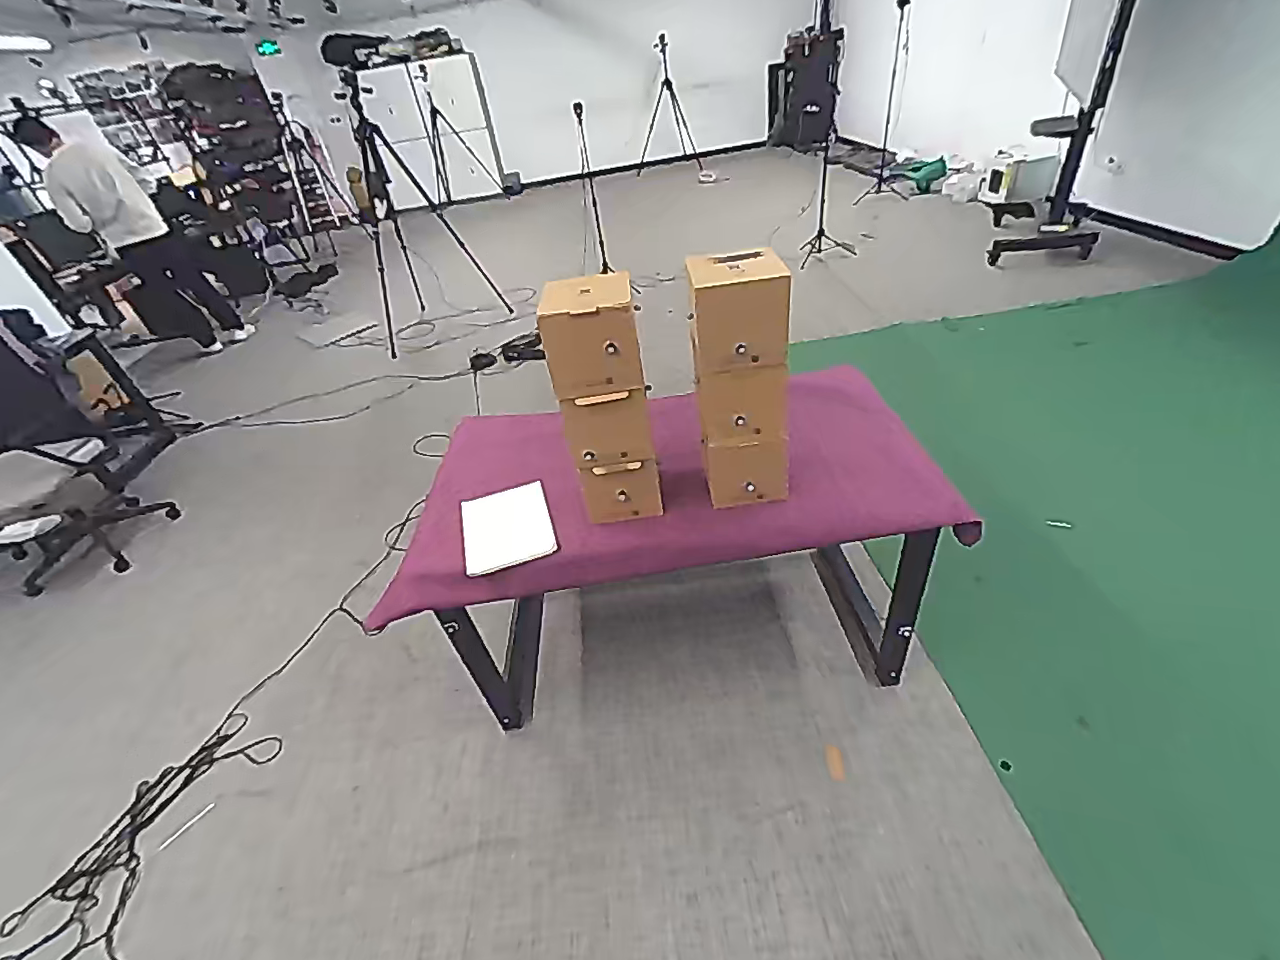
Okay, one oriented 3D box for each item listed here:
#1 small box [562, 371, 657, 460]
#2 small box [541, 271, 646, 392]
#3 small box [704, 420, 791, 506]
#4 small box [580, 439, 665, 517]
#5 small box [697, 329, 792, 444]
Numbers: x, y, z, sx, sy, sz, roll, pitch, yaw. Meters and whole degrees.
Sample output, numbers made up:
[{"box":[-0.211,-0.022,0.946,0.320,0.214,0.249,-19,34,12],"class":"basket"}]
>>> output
[{"box":[-0.058,-0.153,1.133,0.168,0.176,0.179,-8,37,3],"class":"small box"},{"box":[-0.080,-0.277,1.029,0.168,0.176,0.179,-7,38,3],"class":"small box"},{"box":[0.236,-0.064,1.221,0.168,0.176,0.179,-9,37,4],"class":"small box"},{"box":[-0.036,-0.029,1.239,0.168,0.176,0.179,-7,39,3],"class":"small box"},{"box":[0.212,-0.195,1.127,0.168,0.176,0.179,-8,37,3],"class":"small box"}]
